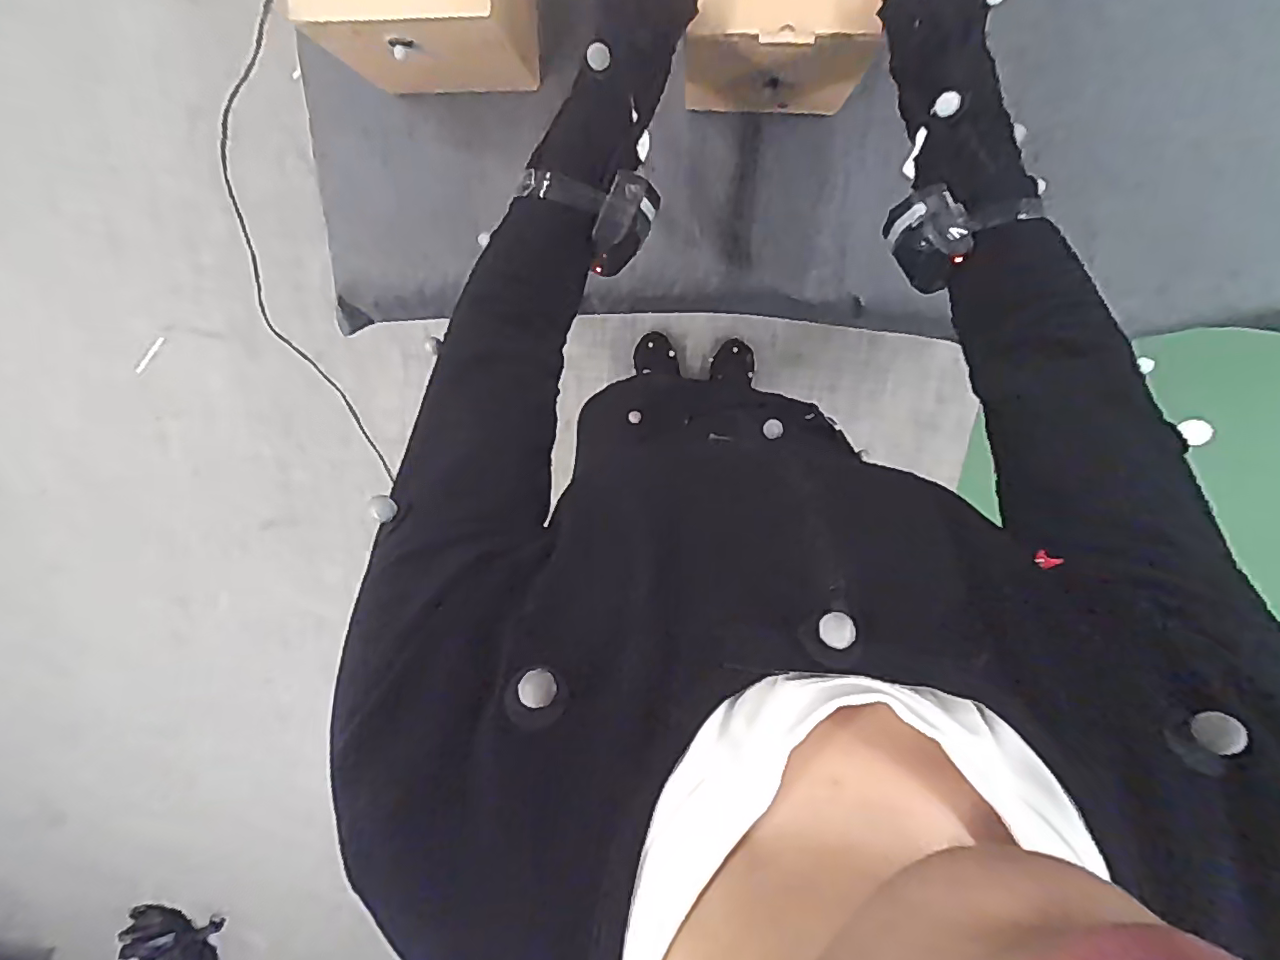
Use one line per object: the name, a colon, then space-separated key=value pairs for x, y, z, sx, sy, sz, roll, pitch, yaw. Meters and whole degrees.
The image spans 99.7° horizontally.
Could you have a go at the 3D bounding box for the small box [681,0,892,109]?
small box: x=0.127 y=-0.458 z=0.483 sx=0.168 sy=0.176 sz=0.179 roll=4 pitch=108 yaw=3

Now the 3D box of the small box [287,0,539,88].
small box: x=-0.202 y=-0.486 z=0.499 sx=0.179 sy=0.176 sz=0.168 roll=1 pitch=109 yaw=3
